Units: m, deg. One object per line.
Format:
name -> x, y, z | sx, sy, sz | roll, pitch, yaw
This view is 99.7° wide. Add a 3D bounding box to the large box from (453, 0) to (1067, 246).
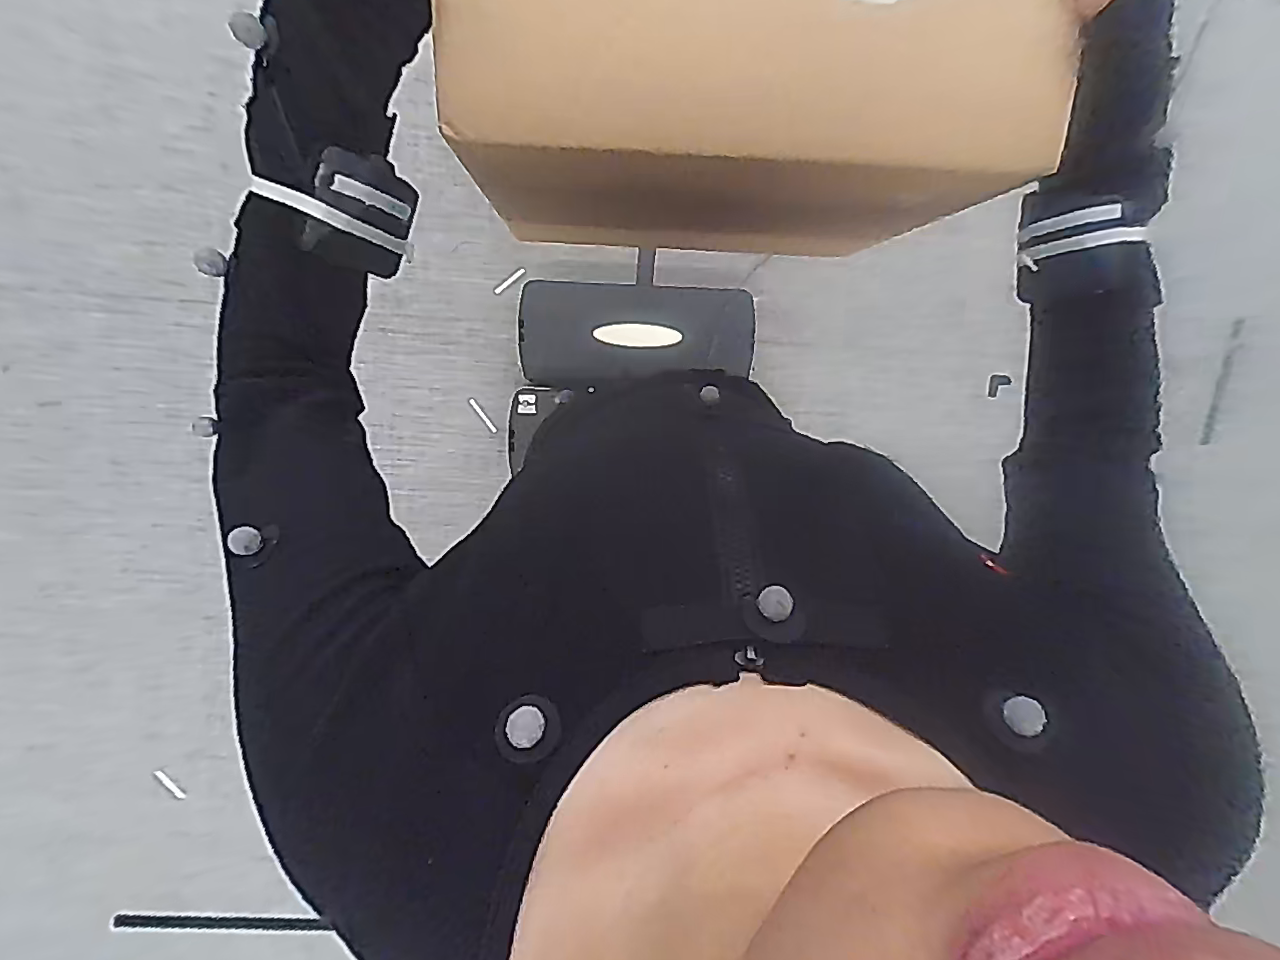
large box -> 0.068, -0.399, 0.471 | 0.408, 0.320, 0.320 | 0, 103, -5
